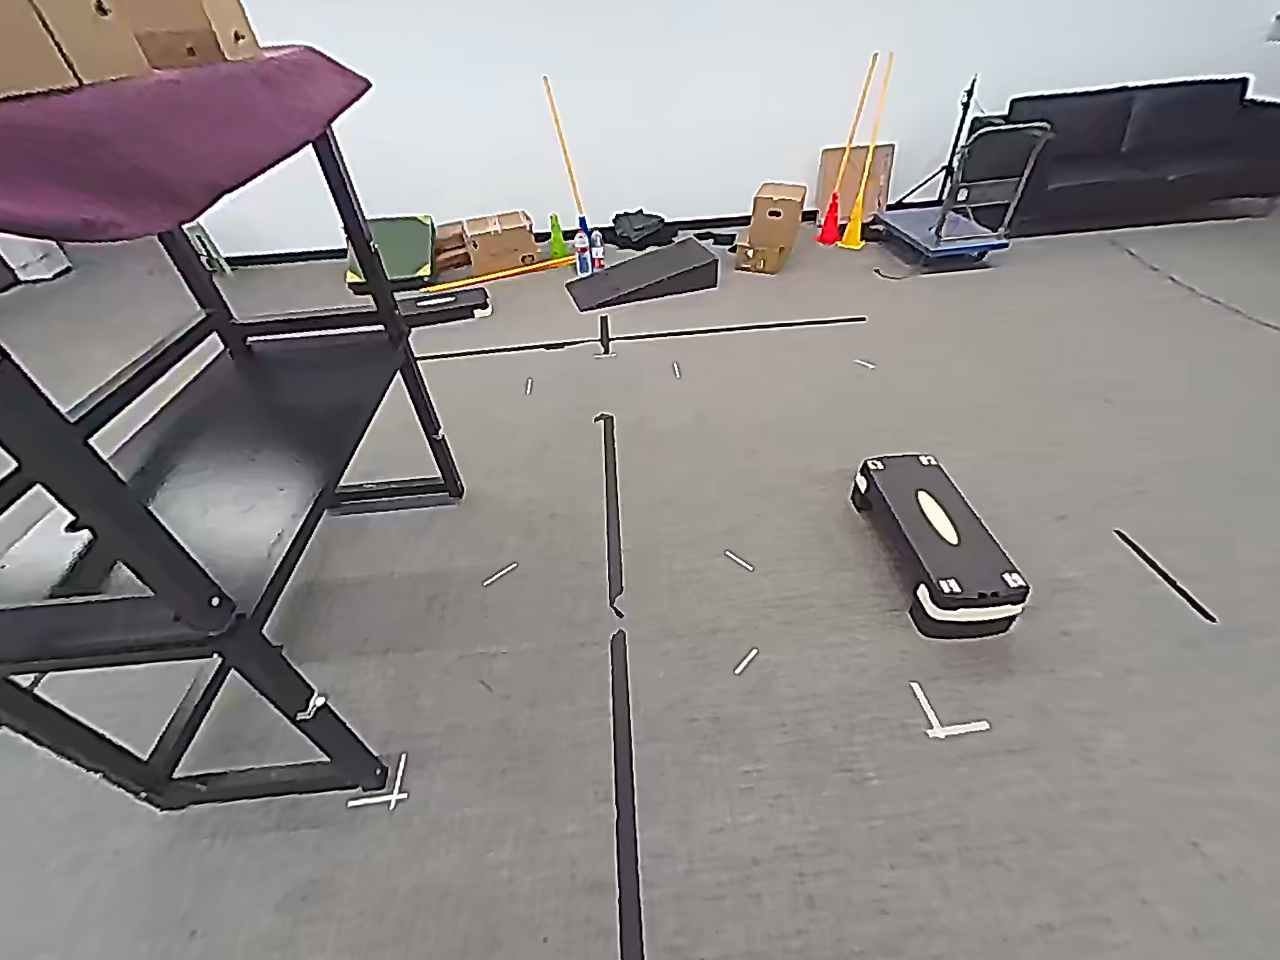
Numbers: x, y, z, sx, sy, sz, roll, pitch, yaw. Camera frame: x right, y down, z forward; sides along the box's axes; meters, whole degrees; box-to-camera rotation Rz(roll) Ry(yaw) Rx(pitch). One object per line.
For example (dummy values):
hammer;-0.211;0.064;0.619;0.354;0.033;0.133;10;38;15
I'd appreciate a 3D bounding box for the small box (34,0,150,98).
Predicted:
small box;-0.927;-0.702;0.837;0.168;0.176;0.179;-5;42;0

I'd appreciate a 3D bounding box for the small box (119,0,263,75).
small box;-0.922;-0.944;1.111;0.168;0.176;0.179;-7;41;-2

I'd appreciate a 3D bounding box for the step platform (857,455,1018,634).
step platform;0.991;0.186;1.870;0.286;0.204;0.684;-1;40;3
